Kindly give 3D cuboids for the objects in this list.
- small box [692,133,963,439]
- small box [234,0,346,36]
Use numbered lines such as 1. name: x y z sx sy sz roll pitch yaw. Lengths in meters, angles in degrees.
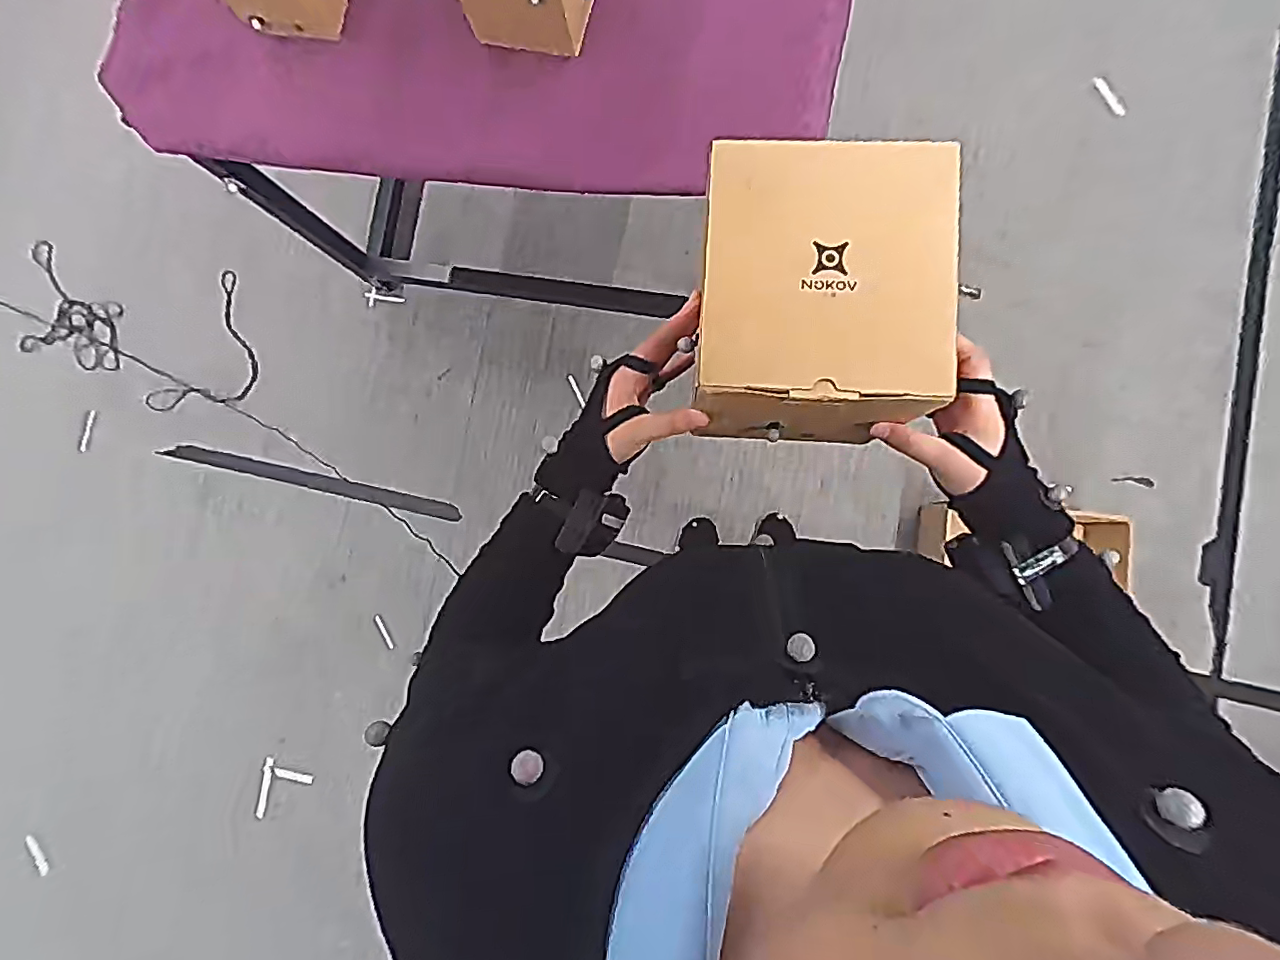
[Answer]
1. small box: 0.130 -0.137 0.433 0.168 0.176 0.179 3 85 4
2. small box: -0.583 -0.858 0.858 0.168 0.176 0.179 11 87 7
